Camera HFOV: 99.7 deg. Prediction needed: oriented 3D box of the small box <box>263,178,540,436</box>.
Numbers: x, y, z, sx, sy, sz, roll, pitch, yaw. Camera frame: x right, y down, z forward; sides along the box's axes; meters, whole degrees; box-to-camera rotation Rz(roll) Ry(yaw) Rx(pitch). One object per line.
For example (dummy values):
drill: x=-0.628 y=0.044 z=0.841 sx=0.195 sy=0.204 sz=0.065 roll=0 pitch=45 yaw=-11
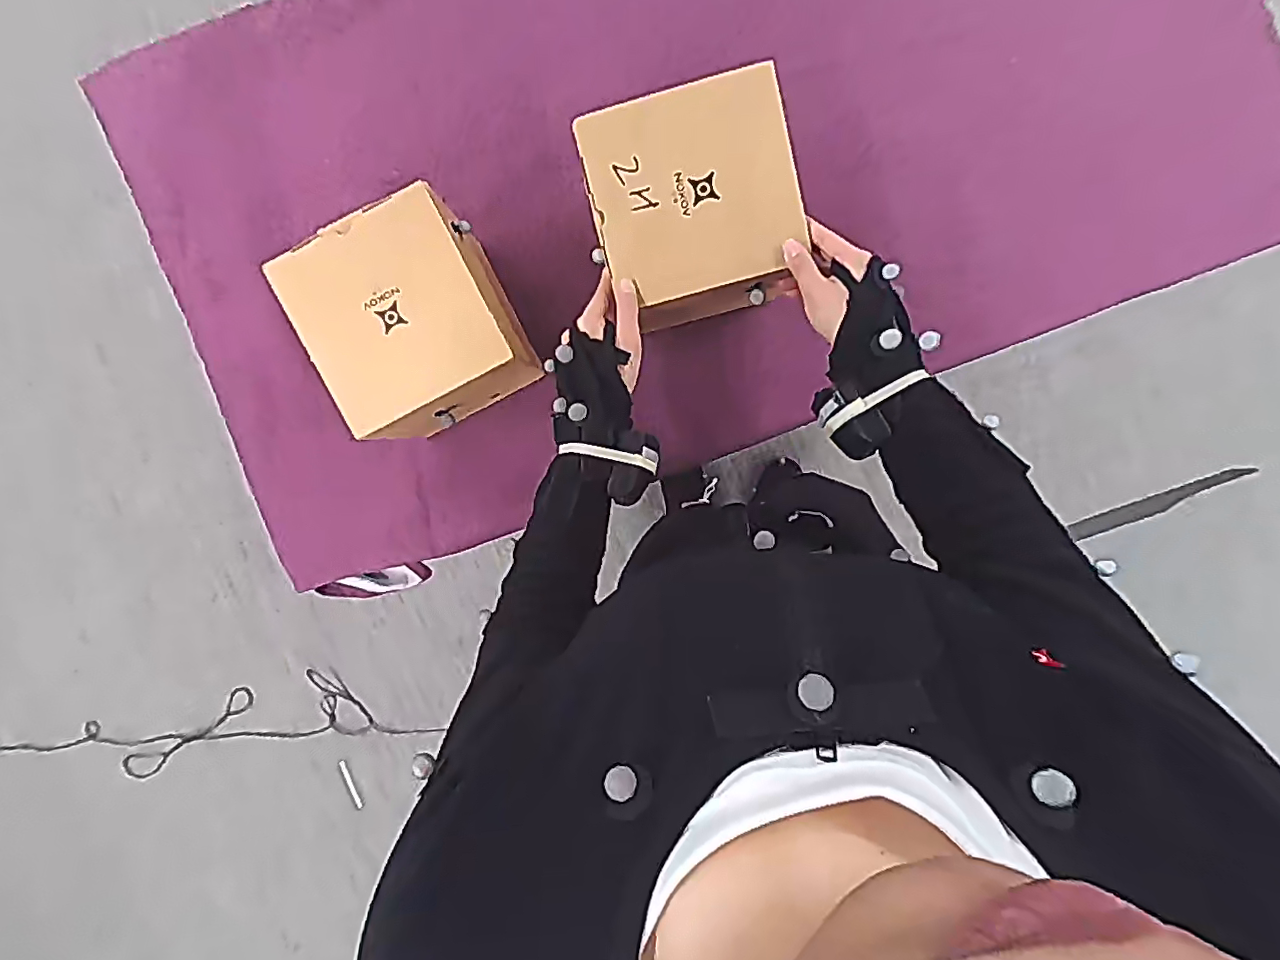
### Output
small box: x=-0.222 y=-0.159 z=0.559 sx=0.168 sy=0.176 sz=0.179 roll=-27 pitch=94 yaw=2

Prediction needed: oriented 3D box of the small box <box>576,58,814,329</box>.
small box: x=0.050 y=-0.259 z=0.535 sx=0.179 sy=0.176 sz=0.168 roll=-13 pitch=97 yaw=4
